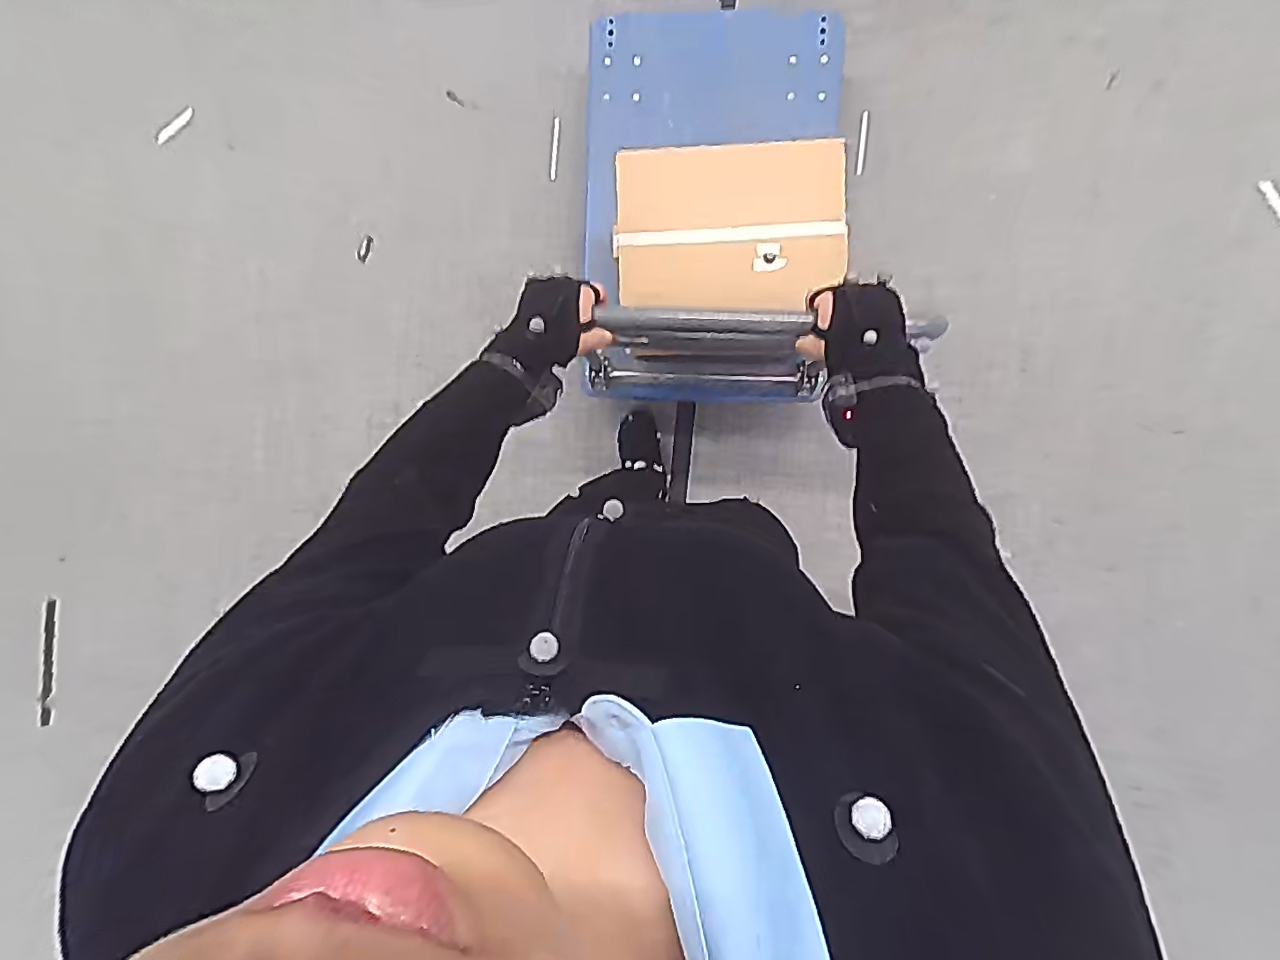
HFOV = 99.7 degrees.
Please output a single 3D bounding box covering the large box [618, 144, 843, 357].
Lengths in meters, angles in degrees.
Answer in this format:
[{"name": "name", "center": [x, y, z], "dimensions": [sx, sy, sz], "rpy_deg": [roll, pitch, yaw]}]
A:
[{"name": "large box", "center": [0.168, -0.446, 1.127], "dimensions": [0.408, 0.320, 0.320], "rpy_deg": [-2, 93, 2]}]
